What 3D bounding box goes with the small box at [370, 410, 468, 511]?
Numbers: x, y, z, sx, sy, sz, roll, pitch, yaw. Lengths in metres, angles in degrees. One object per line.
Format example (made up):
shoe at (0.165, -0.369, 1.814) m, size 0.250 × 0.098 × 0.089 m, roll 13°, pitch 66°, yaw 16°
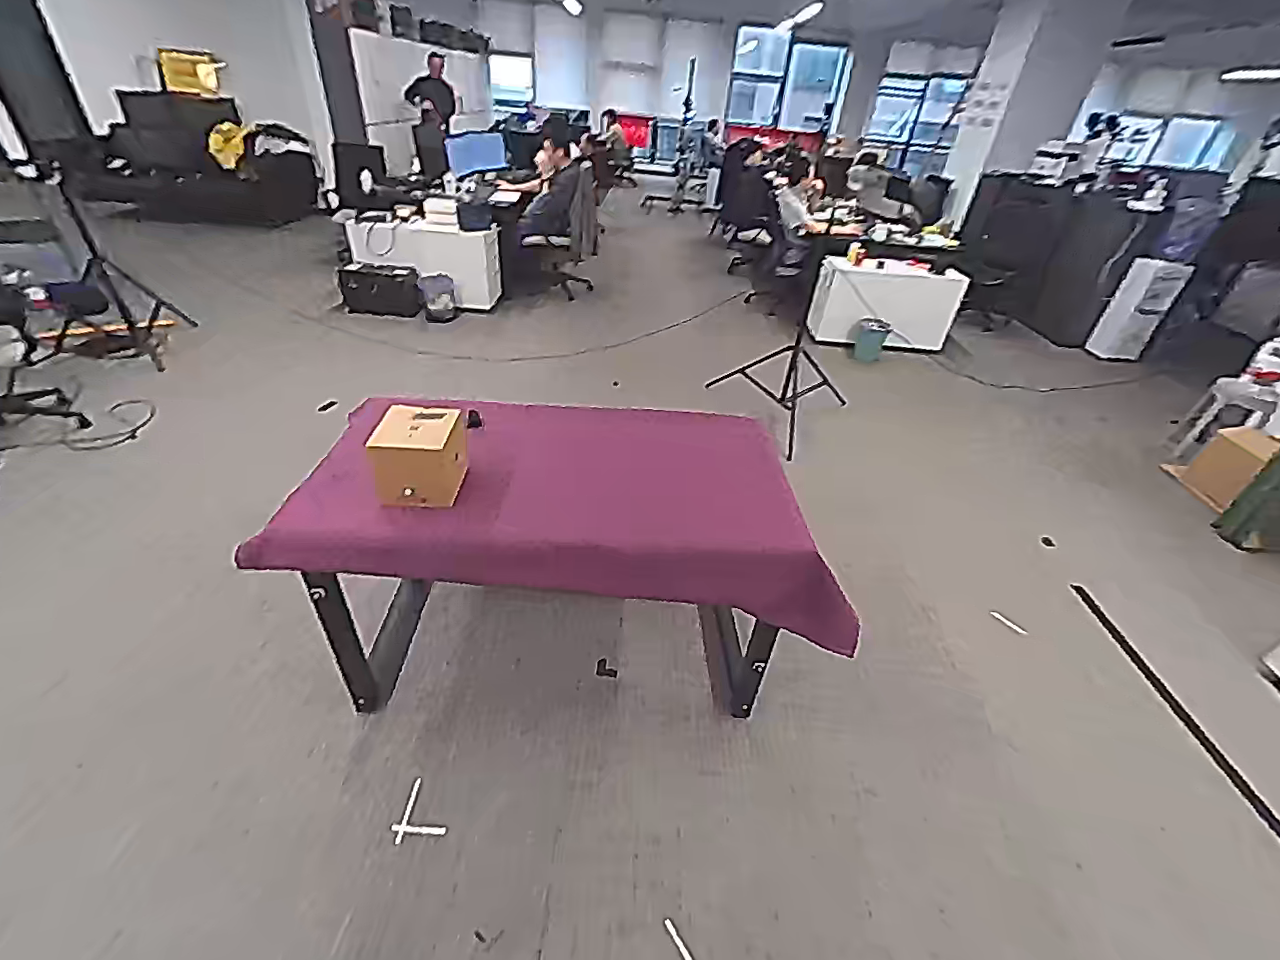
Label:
small box at (-0.513, -0.047, 1.284) m, size 0.168 × 0.176 × 0.179 m, roll 3°, pitch 36°, yaw -4°
